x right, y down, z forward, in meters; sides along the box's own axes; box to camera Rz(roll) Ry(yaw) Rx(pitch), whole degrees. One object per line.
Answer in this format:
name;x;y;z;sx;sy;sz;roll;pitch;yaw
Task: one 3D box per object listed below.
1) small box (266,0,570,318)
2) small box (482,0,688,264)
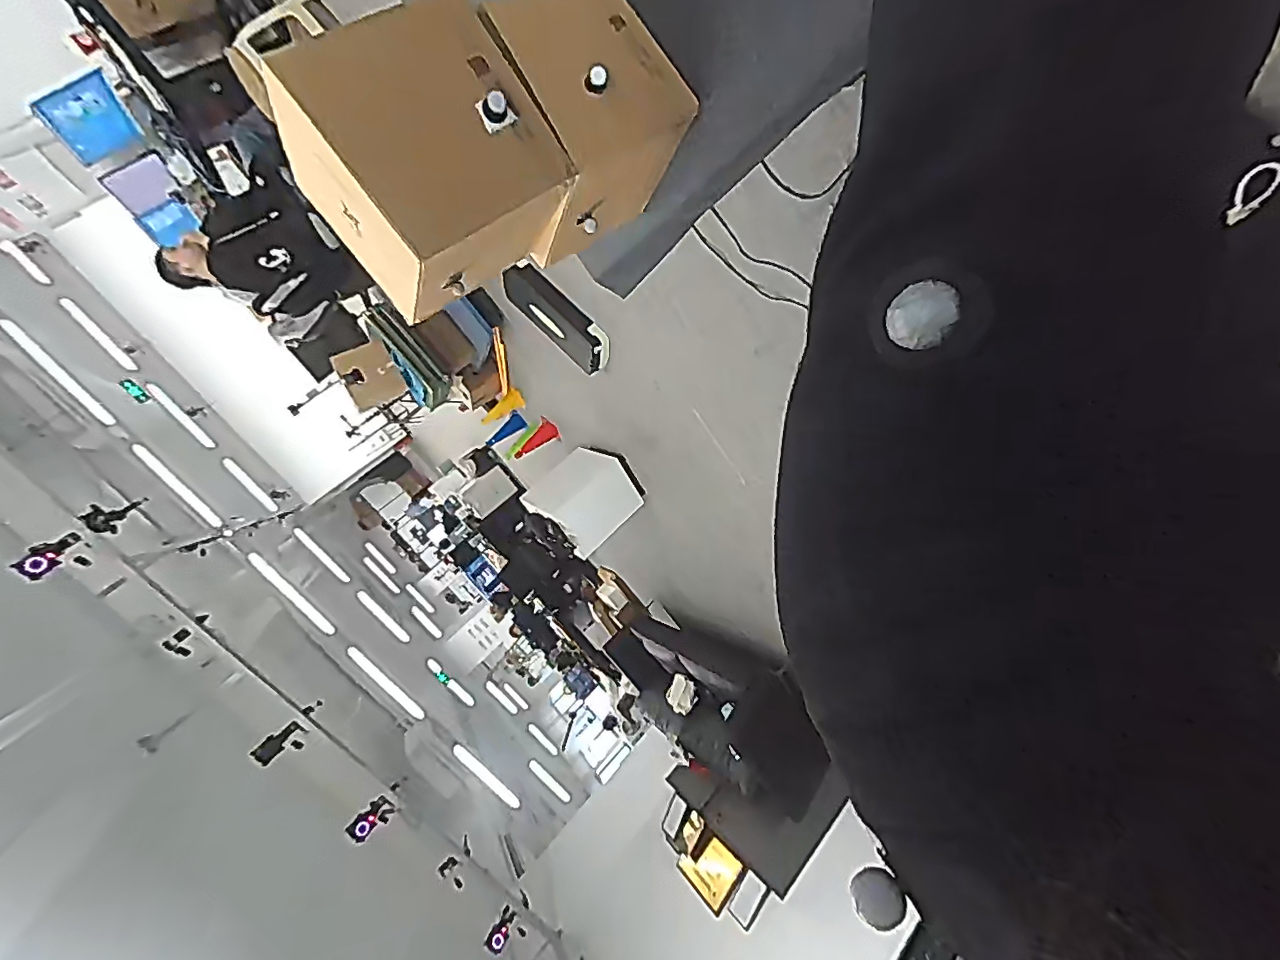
small box;-0.190;-0.283;0.496;0.168;0.176;0.179;52;159;-14
small box;-0.075;-0.374;0.568;0.168;0.176;0.179;51;160;-6
